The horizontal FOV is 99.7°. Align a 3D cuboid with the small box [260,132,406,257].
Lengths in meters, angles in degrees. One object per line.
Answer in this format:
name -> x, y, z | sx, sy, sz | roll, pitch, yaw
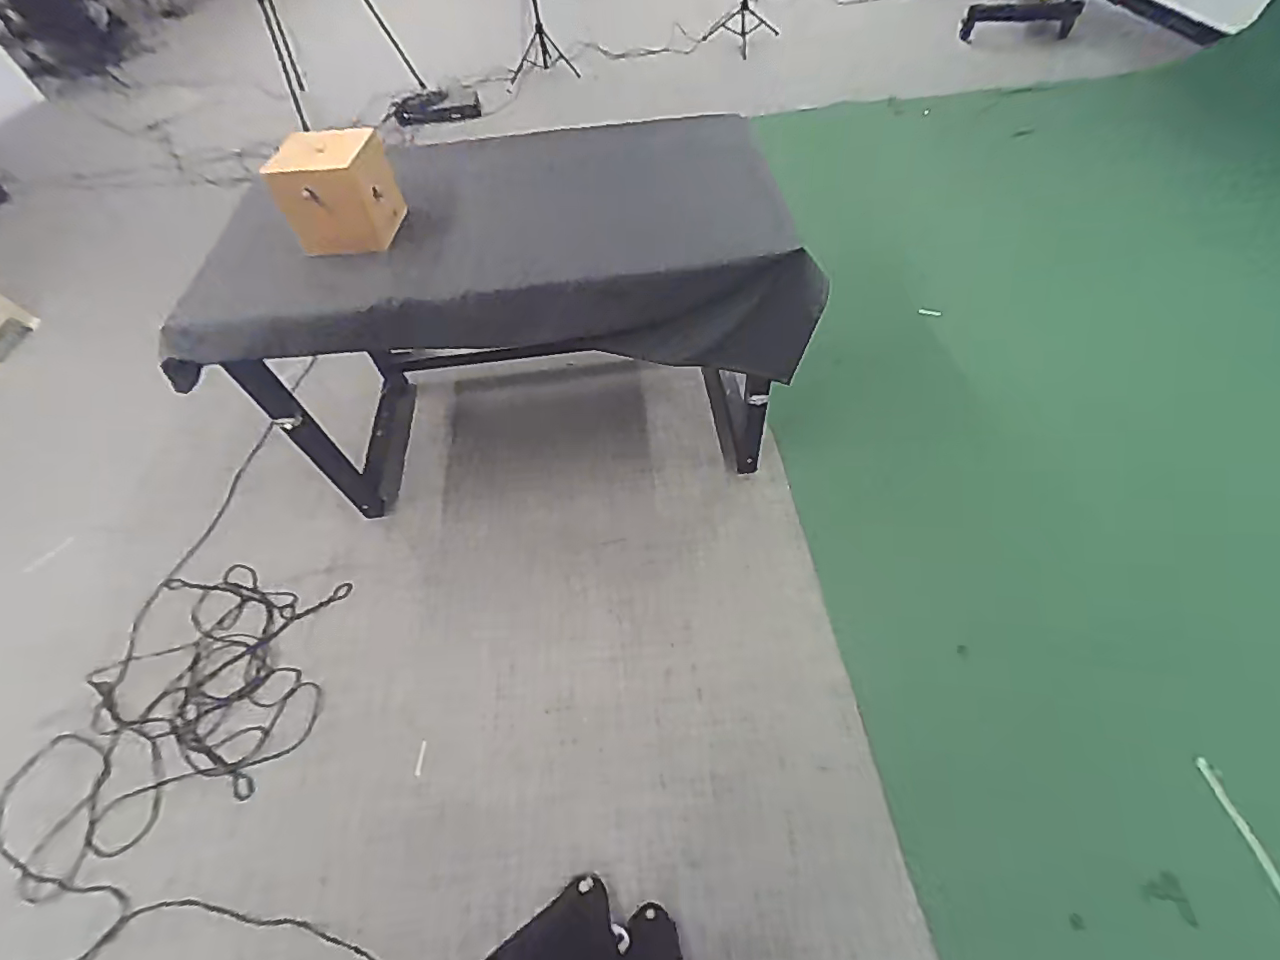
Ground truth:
small box -> -0.602, -0.571, 1.091 | 0.179, 0.176, 0.168 | -1, 54, 4
